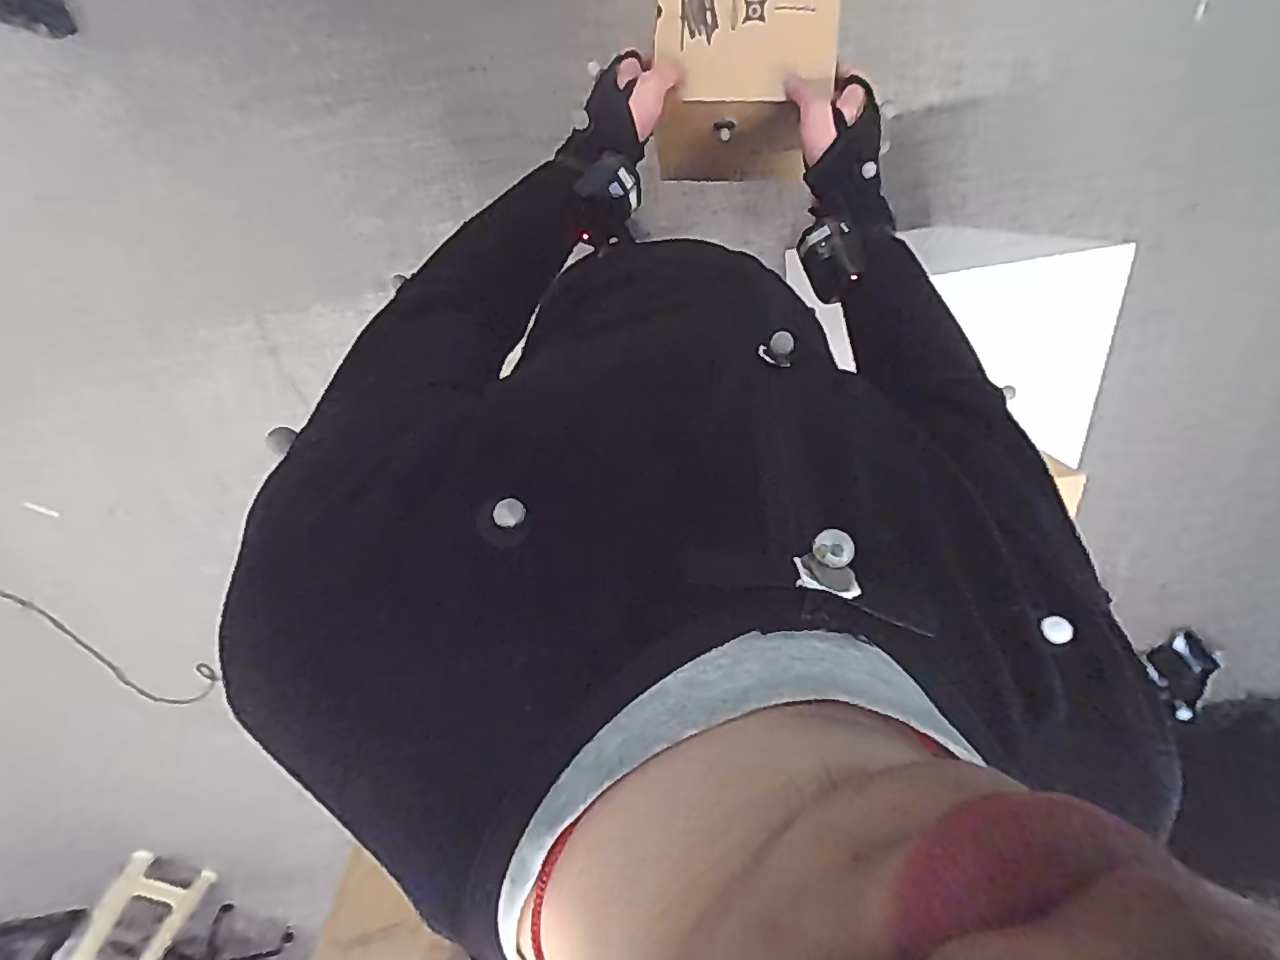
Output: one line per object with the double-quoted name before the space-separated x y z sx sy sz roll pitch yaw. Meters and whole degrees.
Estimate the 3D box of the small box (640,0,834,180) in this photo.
"small box" 0.098 -0.443 0.580 0.179 0.176 0.168 3 96 5
